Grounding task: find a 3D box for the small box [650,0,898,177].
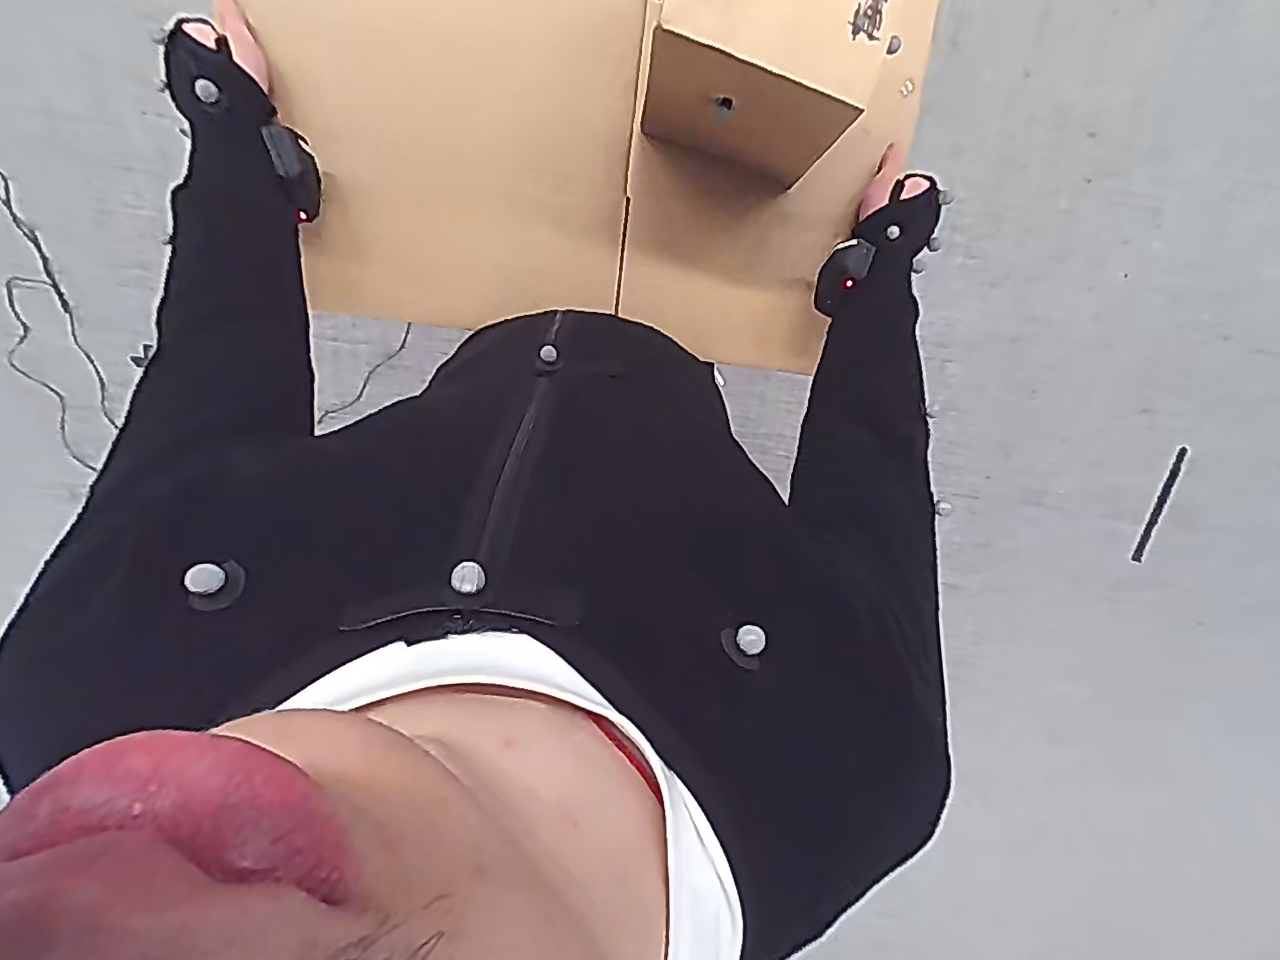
[{"bbox_3d":[0.114,-0.407,0.488,0.179,0.176,0.168,17,99,-5],"label":"small box"}]
